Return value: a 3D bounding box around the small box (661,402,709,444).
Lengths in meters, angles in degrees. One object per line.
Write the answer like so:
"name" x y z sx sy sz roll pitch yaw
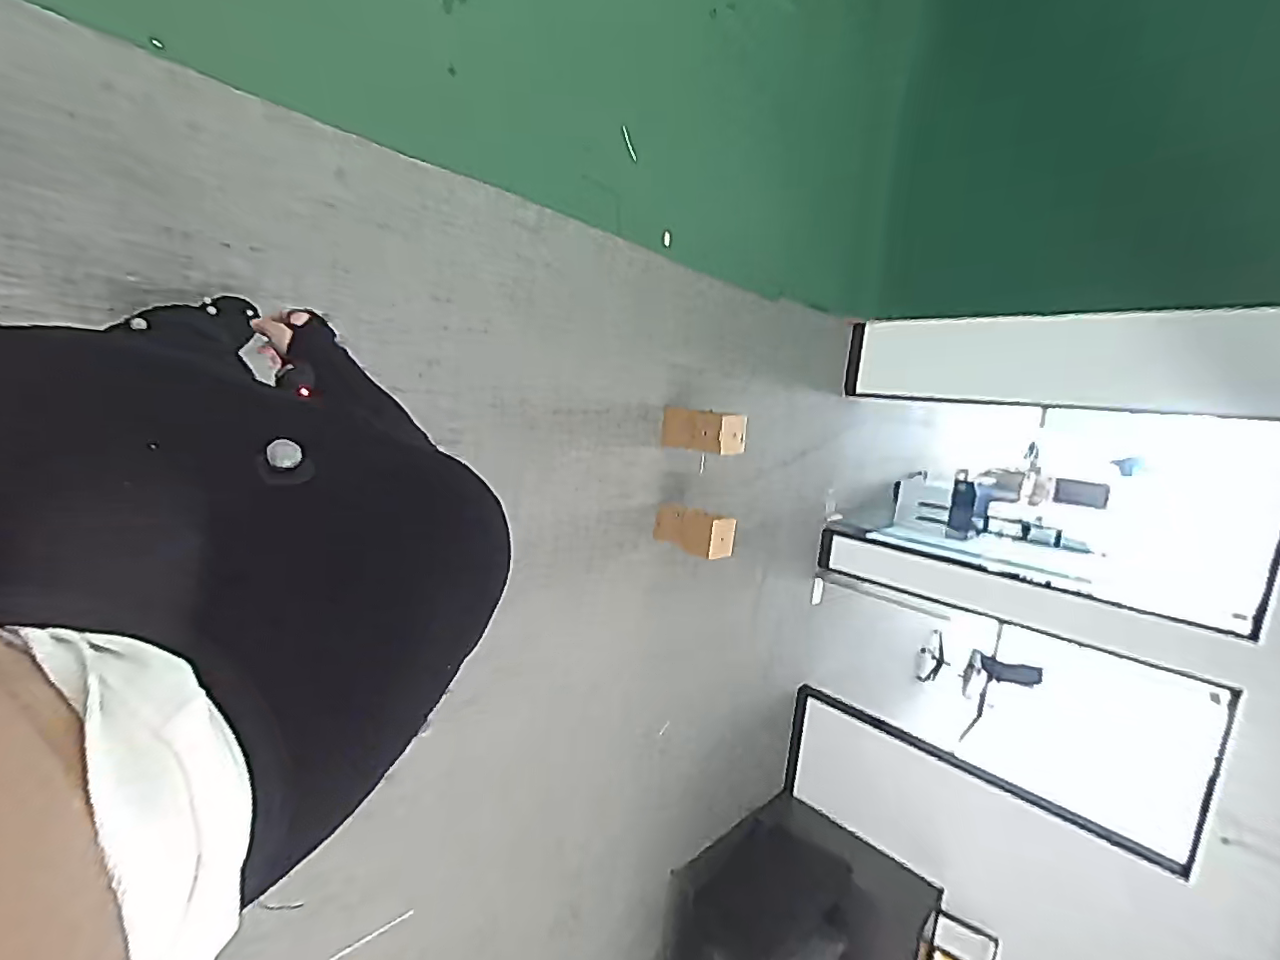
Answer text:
"small box" 0.213 -0.256 2.437 0.168 0.176 0.179 -4 104 -45

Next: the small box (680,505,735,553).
"small box" 0.298 0.211 2.403 0.168 0.176 0.179 -1 102 -45

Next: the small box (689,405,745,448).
"small box" 0.329 -0.231 2.325 0.179 0.176 0.168 -8 106 -44
